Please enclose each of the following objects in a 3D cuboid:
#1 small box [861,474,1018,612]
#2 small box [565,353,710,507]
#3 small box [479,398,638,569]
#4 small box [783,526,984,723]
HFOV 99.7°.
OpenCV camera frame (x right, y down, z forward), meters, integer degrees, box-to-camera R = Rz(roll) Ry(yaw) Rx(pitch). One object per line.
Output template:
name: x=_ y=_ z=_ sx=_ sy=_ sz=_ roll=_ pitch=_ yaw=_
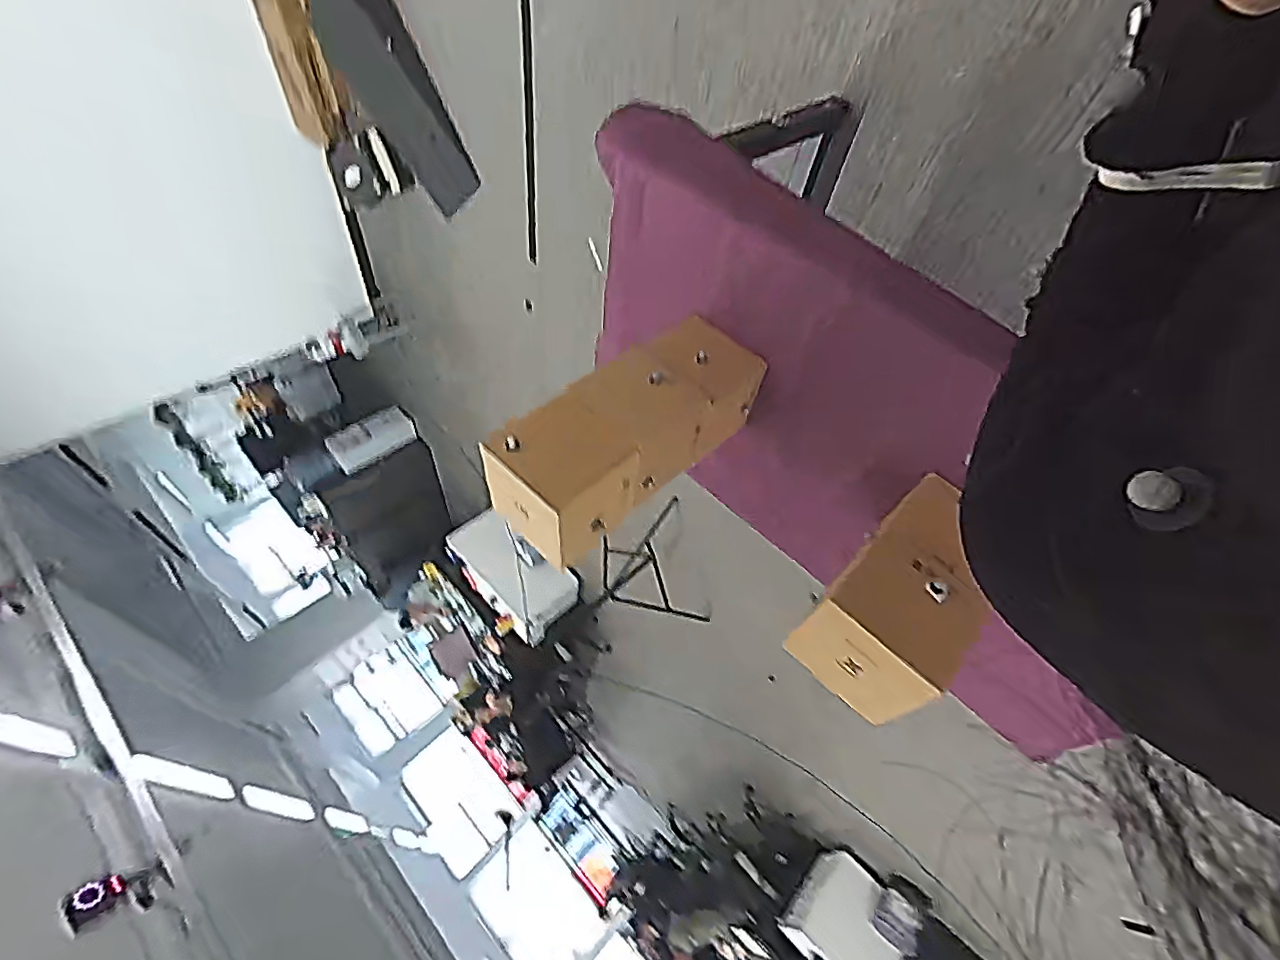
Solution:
small box: x=0.450 y=0.123 z=0.849 sx=0.168 sy=0.176 sz=0.179 roll=41 pitch=149 yaw=20
small box: x=-0.008 y=-0.093 z=0.926 sx=0.179 sy=0.176 sz=0.168 roll=38 pitch=148 yaw=23
small box: x=-0.121 y=-0.001 z=0.851 sx=0.179 sy=0.176 sz=0.168 roll=38 pitch=147 yaw=23
small box: x=0.338 y=0.200 z=0.760 sx=0.168 sy=0.176 sz=0.179 roll=40 pitch=147 yaw=19
